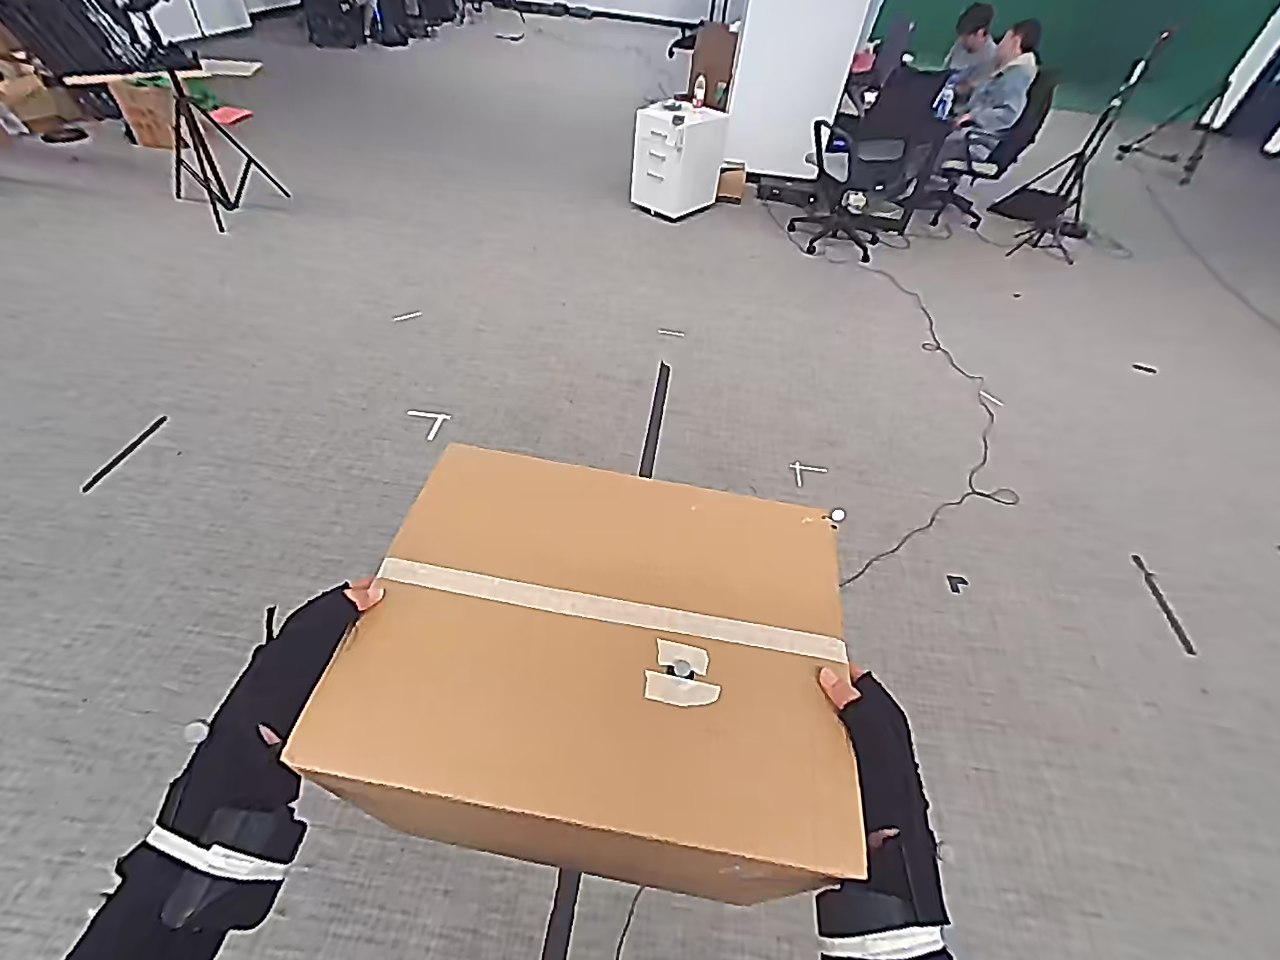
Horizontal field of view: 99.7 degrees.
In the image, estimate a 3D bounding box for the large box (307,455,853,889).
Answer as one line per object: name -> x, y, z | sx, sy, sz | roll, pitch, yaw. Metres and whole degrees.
large box -> -0.040, 0.213, 0.590 | 0.408, 0.320, 0.320 | 10, 50, 1
